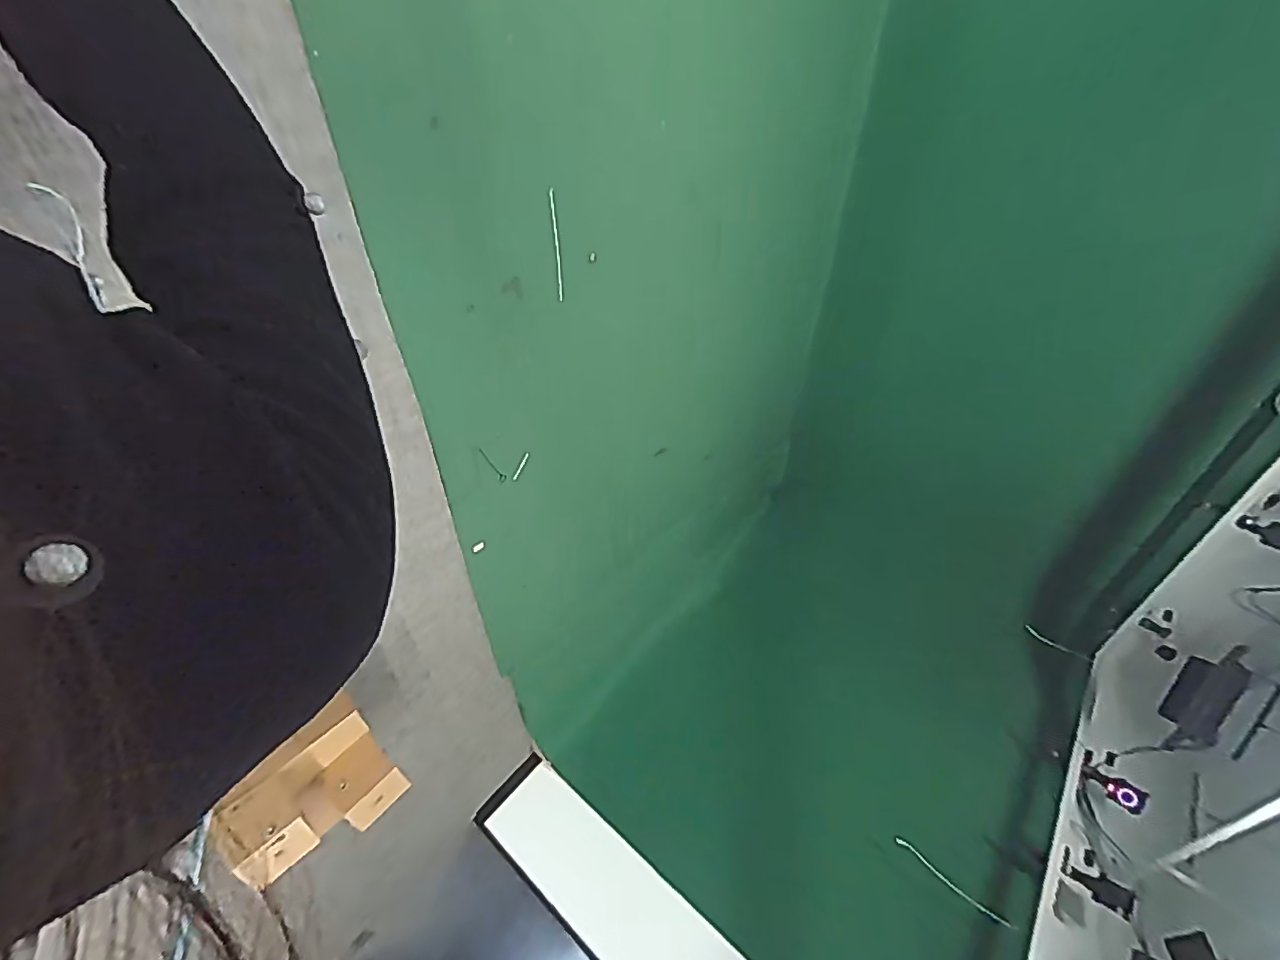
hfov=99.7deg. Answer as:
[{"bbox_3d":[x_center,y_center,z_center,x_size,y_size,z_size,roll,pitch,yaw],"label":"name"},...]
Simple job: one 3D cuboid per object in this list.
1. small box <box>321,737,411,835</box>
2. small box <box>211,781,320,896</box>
[{"bbox_3d":[-0.860,0.953,1.689,0.179,0.176,0.168,-40,146,-35],"label":"small box"},{"bbox_3d":[-1.007,0.959,1.459,0.168,0.176,0.179,-34,141,-38],"label":"small box"}]
